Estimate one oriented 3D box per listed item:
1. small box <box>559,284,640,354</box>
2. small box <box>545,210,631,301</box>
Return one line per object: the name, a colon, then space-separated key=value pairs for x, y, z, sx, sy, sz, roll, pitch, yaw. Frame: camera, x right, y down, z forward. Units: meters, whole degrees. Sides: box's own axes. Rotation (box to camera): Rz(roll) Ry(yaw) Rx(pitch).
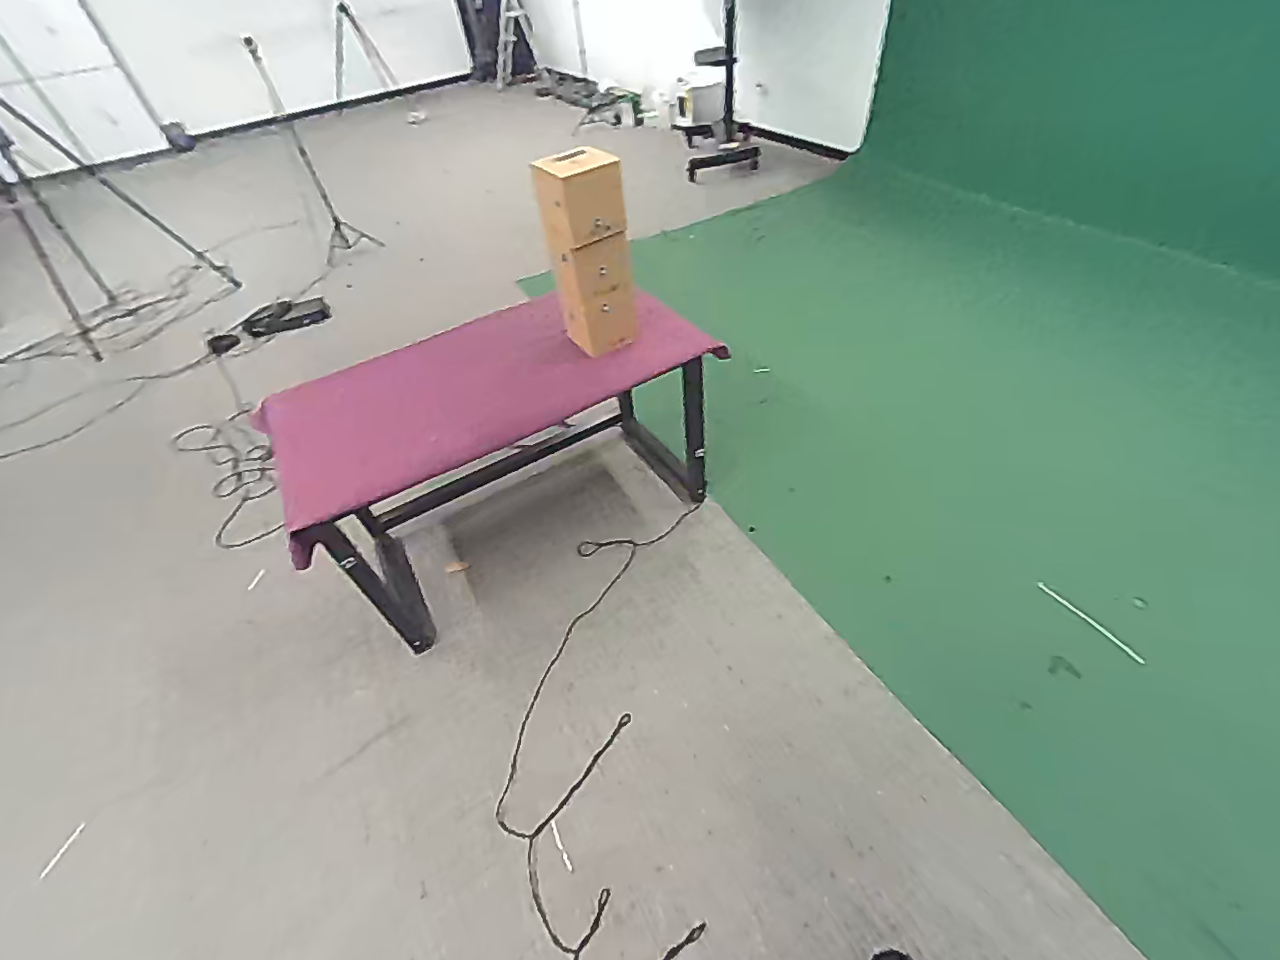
small box: x=-0.119 y=-0.503 z=1.616 sx=0.168 sy=0.176 sz=0.179 roll=-29 pitch=48 yaw=-16
small box: x=-0.139 y=-0.618 z=1.498 sx=0.168 sy=0.176 sz=0.179 roll=-26 pitch=48 yaw=-16
